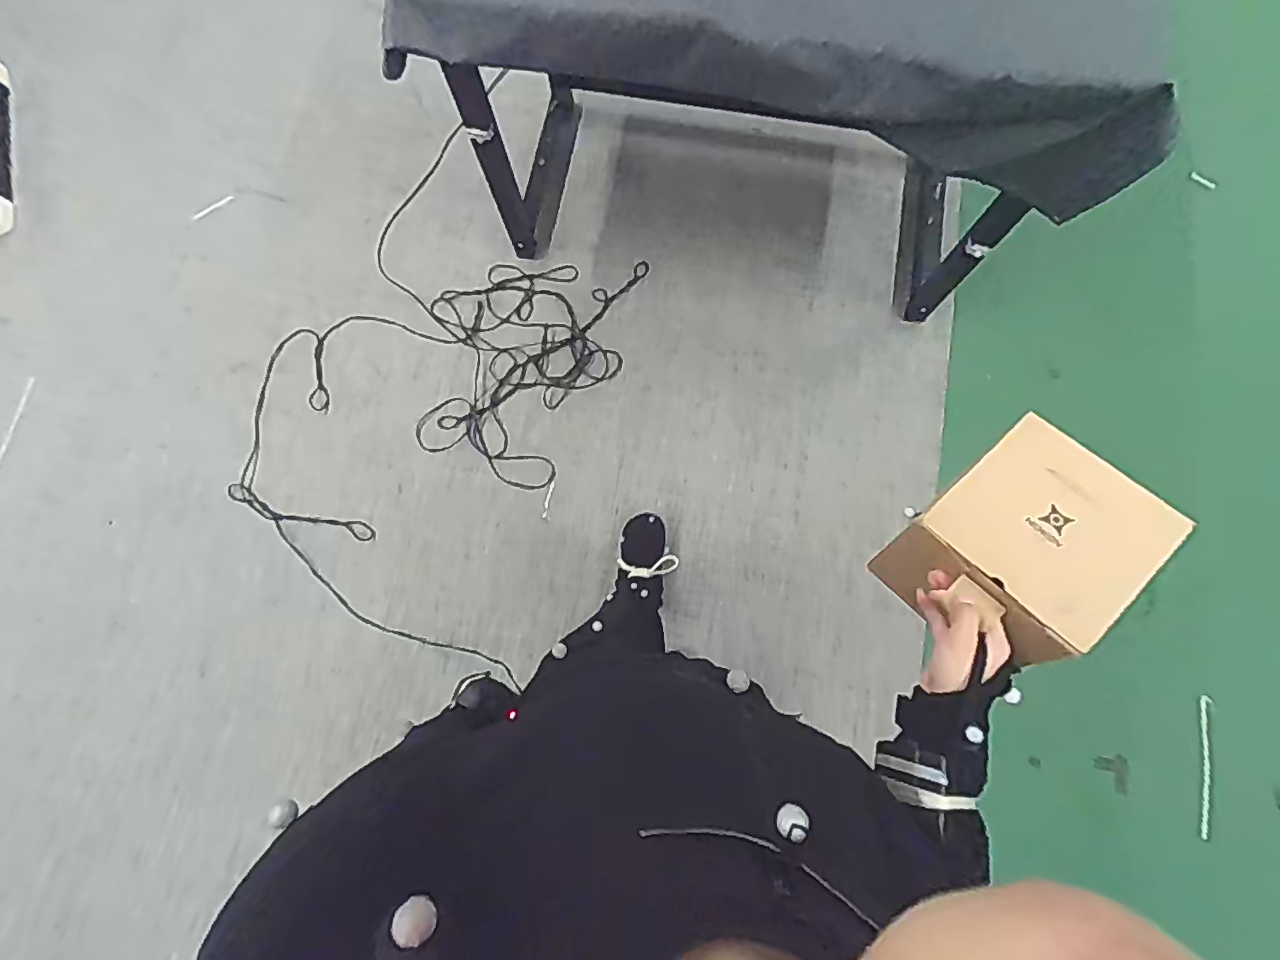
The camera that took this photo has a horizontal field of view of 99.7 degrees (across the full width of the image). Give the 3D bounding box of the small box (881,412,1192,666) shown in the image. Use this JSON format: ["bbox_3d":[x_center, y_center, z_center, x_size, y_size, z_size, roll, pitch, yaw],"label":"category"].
[{"bbox_3d":[0.380,0.071,0.561,0.179,0.176,0.168,-40,69,-13],"label":"small box"}]
